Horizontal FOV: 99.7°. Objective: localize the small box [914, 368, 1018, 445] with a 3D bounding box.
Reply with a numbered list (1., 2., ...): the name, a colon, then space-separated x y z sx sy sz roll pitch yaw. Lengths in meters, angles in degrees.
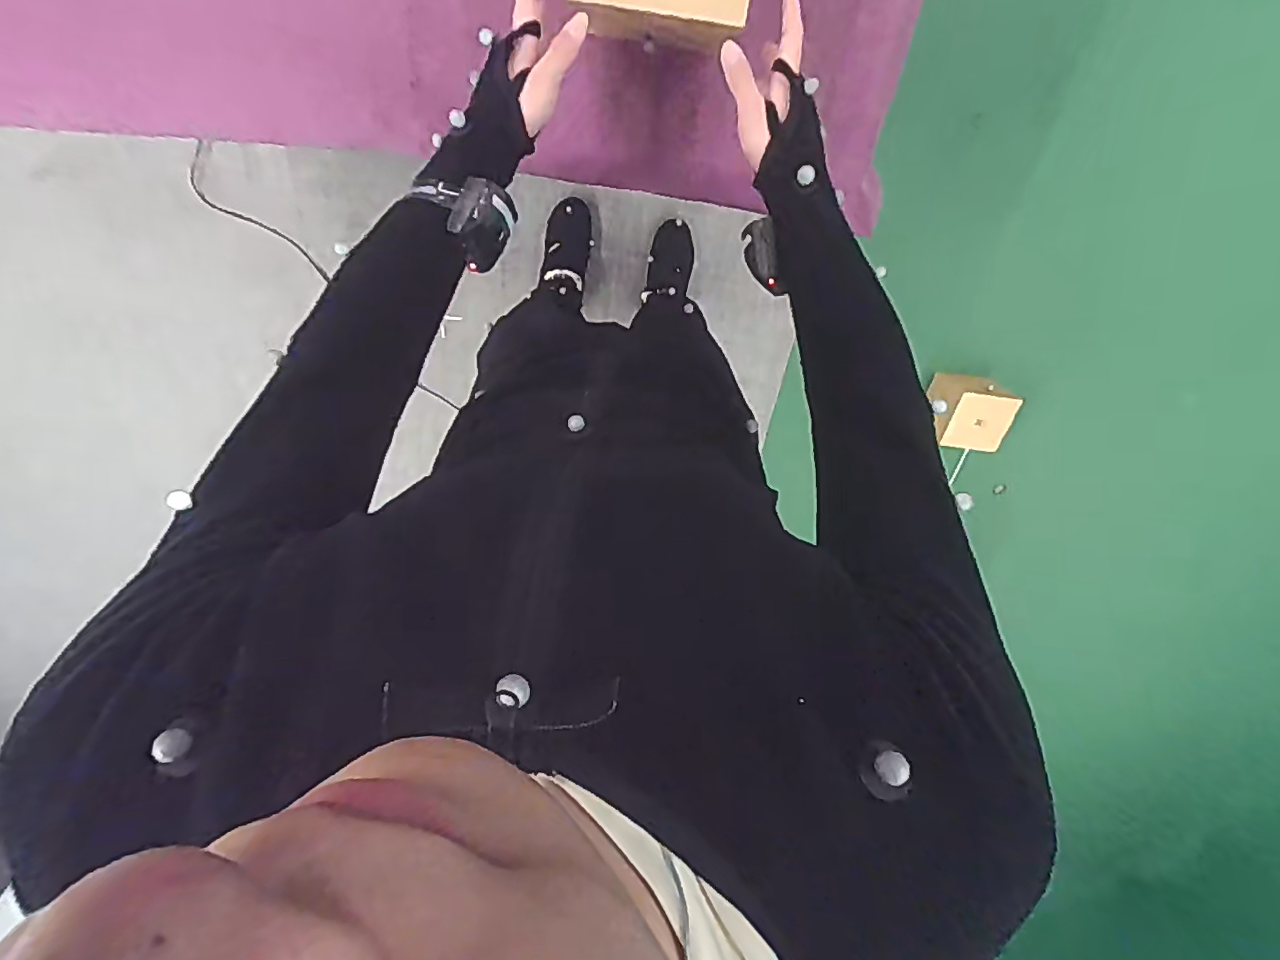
1. small box: 0.941 -0.219 1.582 0.179 0.176 0.168 5 121 -6
